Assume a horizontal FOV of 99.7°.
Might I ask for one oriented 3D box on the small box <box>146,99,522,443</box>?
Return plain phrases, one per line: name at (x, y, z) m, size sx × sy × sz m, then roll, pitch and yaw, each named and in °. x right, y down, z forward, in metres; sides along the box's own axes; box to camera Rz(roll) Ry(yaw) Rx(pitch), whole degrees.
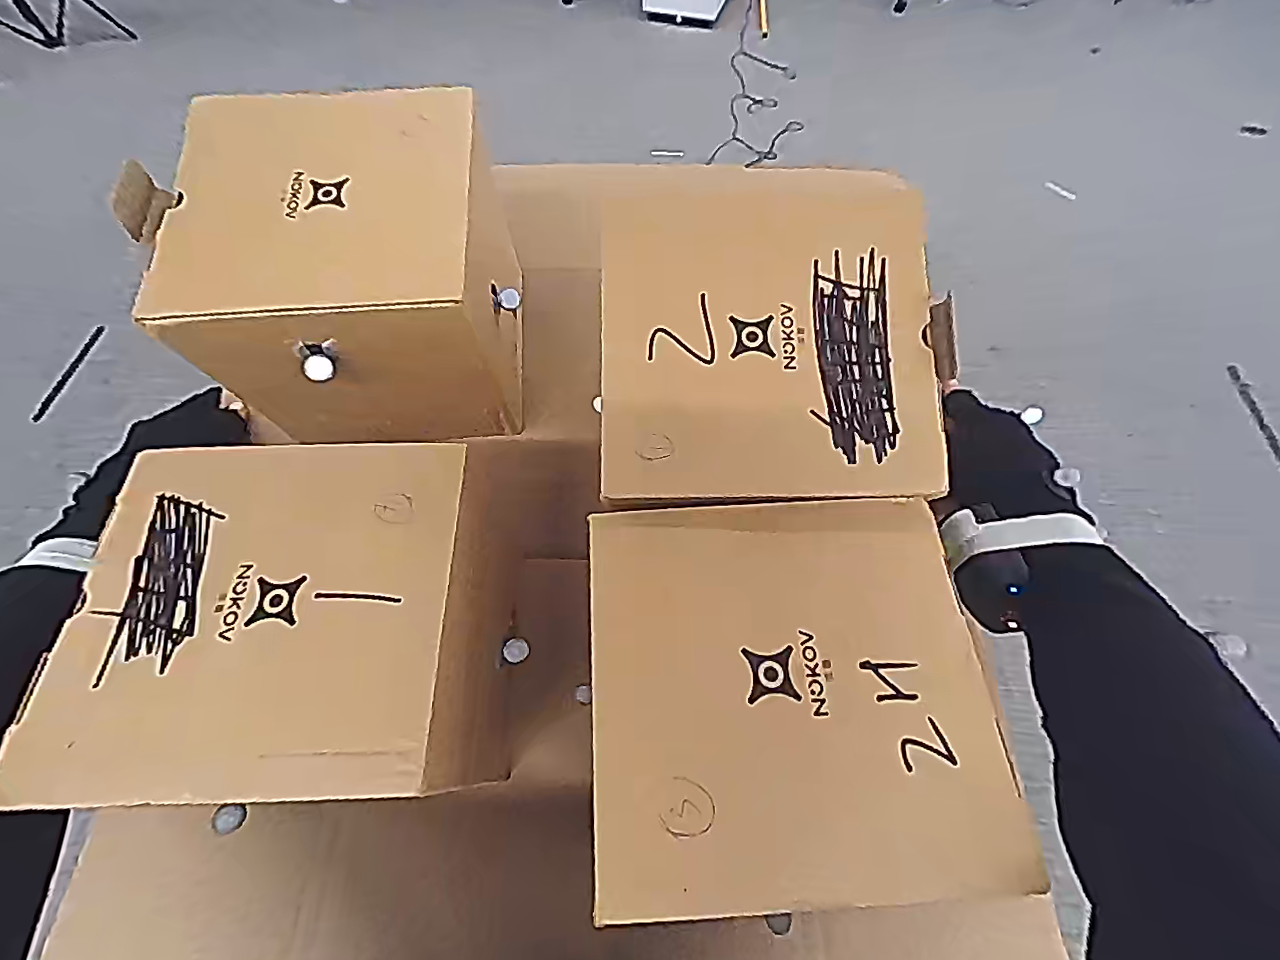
small box at (-0.187, -0.136, 0.396) m, size 0.179 × 0.176 × 0.168 m, roll -4°, pitch 70°, yaw -1°
